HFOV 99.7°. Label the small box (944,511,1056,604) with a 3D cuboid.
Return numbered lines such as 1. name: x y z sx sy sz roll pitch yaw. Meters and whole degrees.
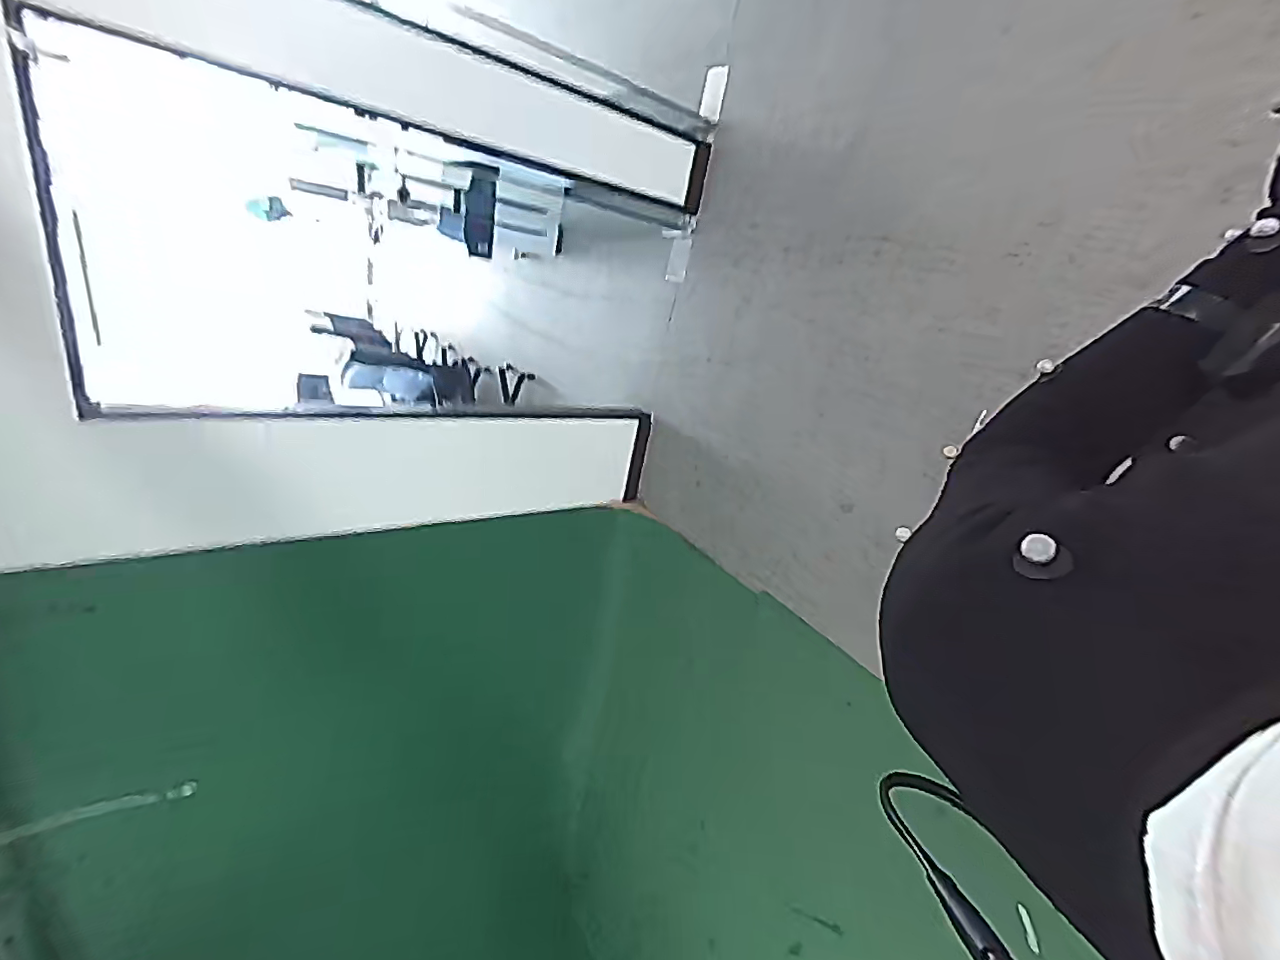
1. small box: 0.952 0.196 1.426 0.168 0.176 0.179 41 124 45
